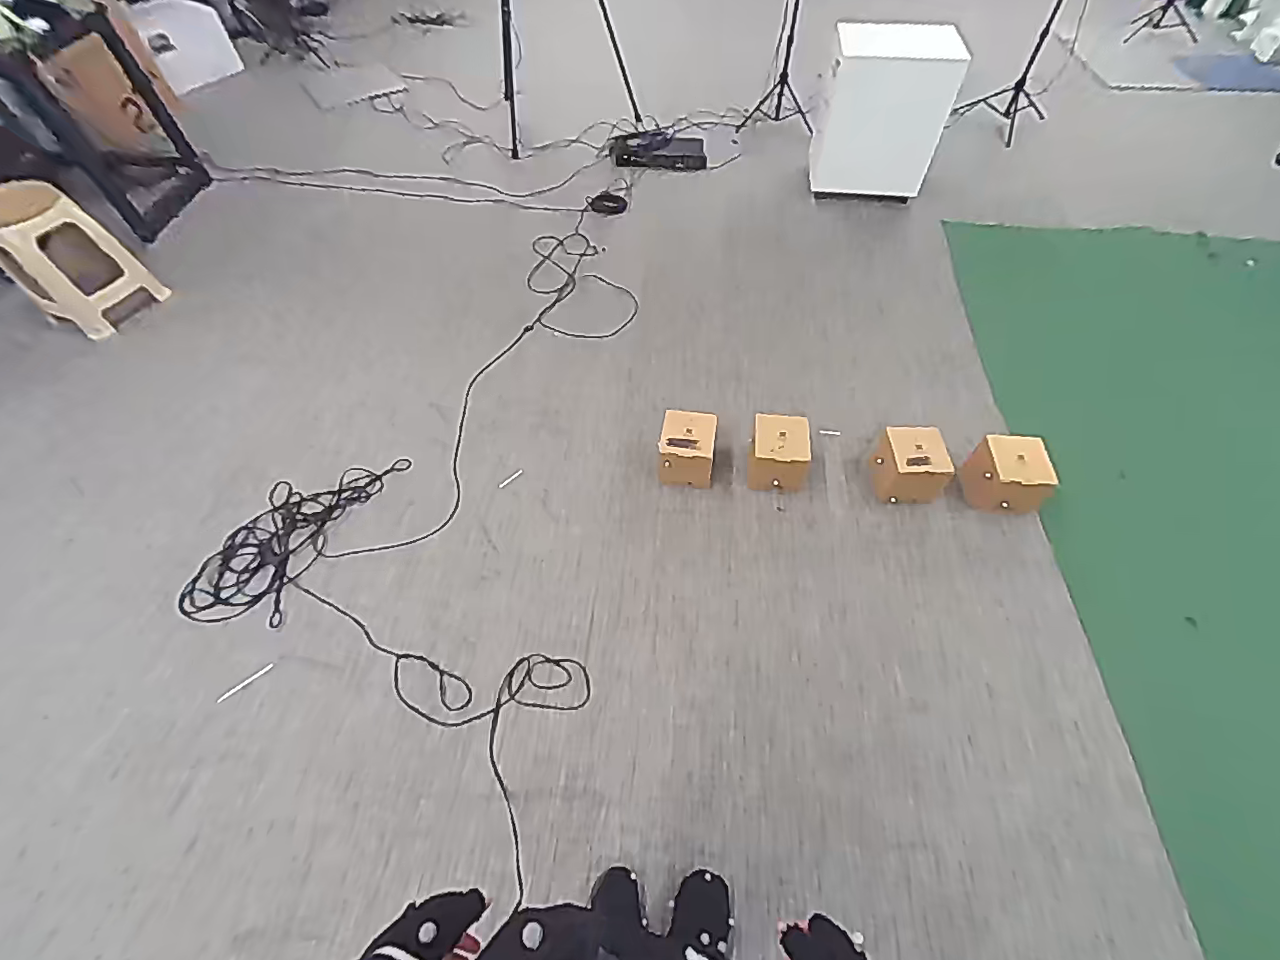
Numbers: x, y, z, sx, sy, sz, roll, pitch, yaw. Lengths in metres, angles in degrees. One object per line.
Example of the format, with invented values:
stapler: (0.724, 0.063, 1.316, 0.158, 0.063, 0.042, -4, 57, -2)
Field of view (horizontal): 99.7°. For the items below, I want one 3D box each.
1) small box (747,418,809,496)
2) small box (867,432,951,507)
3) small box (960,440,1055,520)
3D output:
small box: (0.434, -0.072, 1.722, 0.168, 0.176, 0.179, 5, 56, 5)
small box: (0.833, -0.029, 1.693, 0.168, 0.176, 0.179, 2, 54, 1)
small box: (1.123, 0.000, 1.672, 0.168, 0.176, 0.179, 4, 55, 4)
